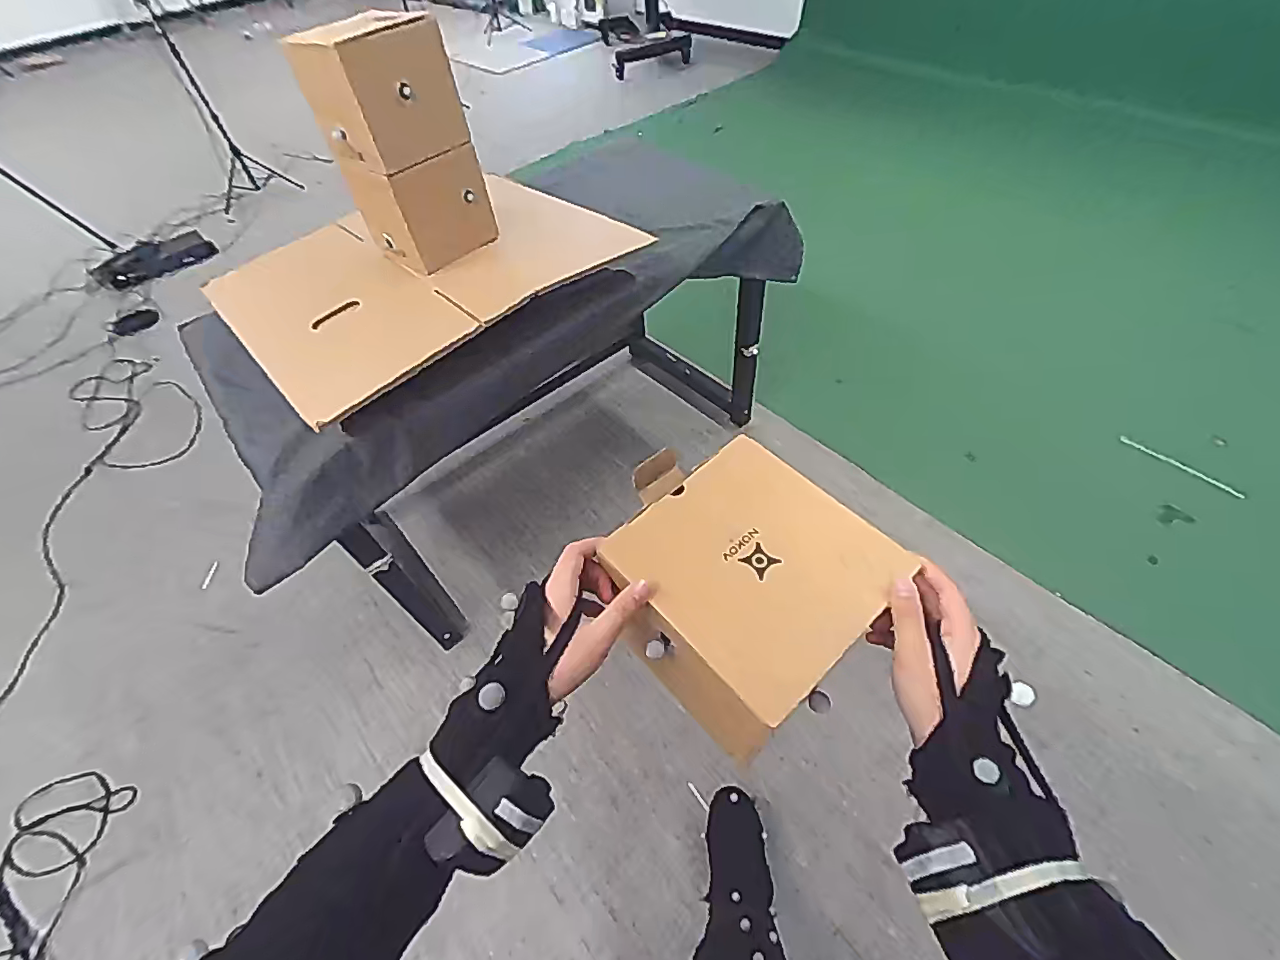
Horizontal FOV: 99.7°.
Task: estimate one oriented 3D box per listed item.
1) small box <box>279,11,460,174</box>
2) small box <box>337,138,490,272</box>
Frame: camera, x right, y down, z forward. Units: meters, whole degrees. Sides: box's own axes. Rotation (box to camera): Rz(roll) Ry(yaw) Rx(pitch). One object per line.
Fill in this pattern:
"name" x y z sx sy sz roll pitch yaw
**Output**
"small box" -0.413 -0.618 0.861 0.168 0.176 0.179 28 59 28
"small box" -0.395 -0.509 0.984 0.168 0.176 0.179 29 60 29
